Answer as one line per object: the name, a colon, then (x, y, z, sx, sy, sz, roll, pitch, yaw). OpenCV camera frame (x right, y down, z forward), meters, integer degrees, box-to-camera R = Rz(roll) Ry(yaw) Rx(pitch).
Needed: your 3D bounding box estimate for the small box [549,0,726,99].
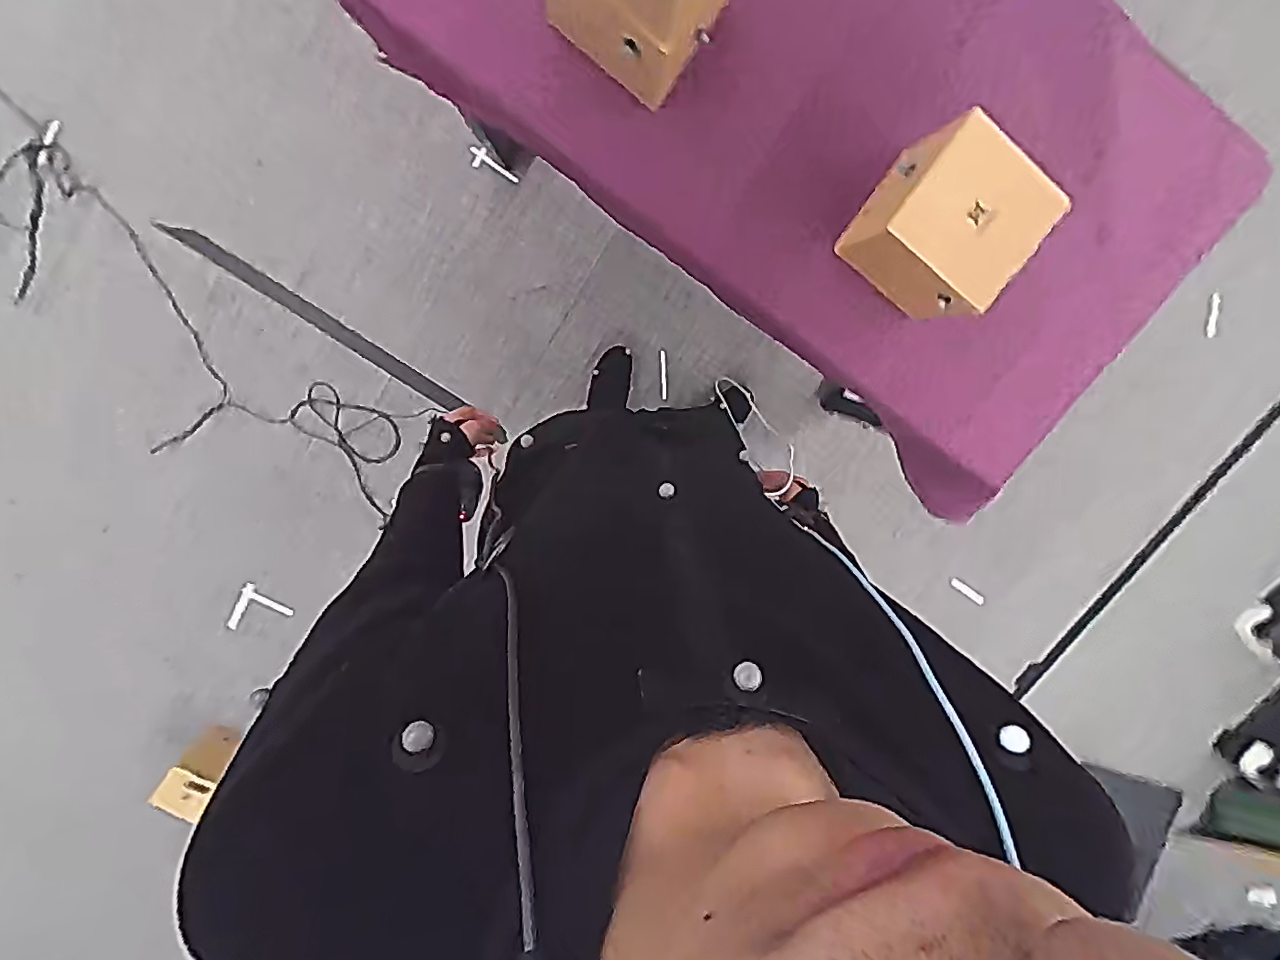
small box: (0.004, -0.597, 0.640, 0.179, 0.176, 0.168, 35, 100, -12)

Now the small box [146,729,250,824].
small box: (-1.404, 0.944, 1.734, 0.168, 0.176, 0.179, 36, 101, -12)

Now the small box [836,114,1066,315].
small box: (0.407, -0.341, 0.742, 0.179, 0.176, 0.168, 34, 100, -12)
